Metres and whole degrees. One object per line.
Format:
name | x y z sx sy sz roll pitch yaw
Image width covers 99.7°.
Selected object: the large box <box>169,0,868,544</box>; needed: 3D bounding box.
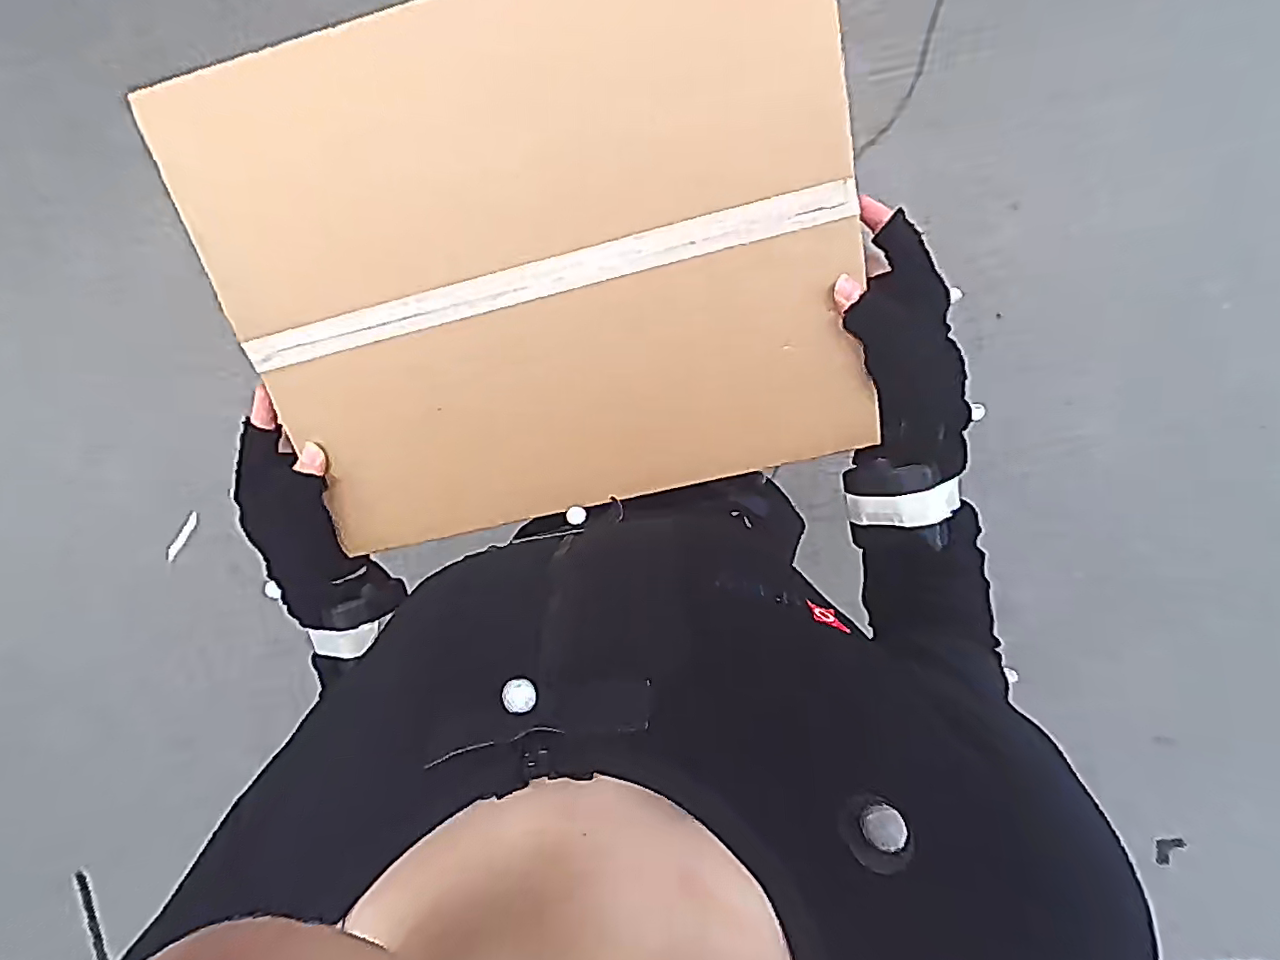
large box | -0.063 -0.180 0.498 0.408 0.320 0.320 -13 110 6
